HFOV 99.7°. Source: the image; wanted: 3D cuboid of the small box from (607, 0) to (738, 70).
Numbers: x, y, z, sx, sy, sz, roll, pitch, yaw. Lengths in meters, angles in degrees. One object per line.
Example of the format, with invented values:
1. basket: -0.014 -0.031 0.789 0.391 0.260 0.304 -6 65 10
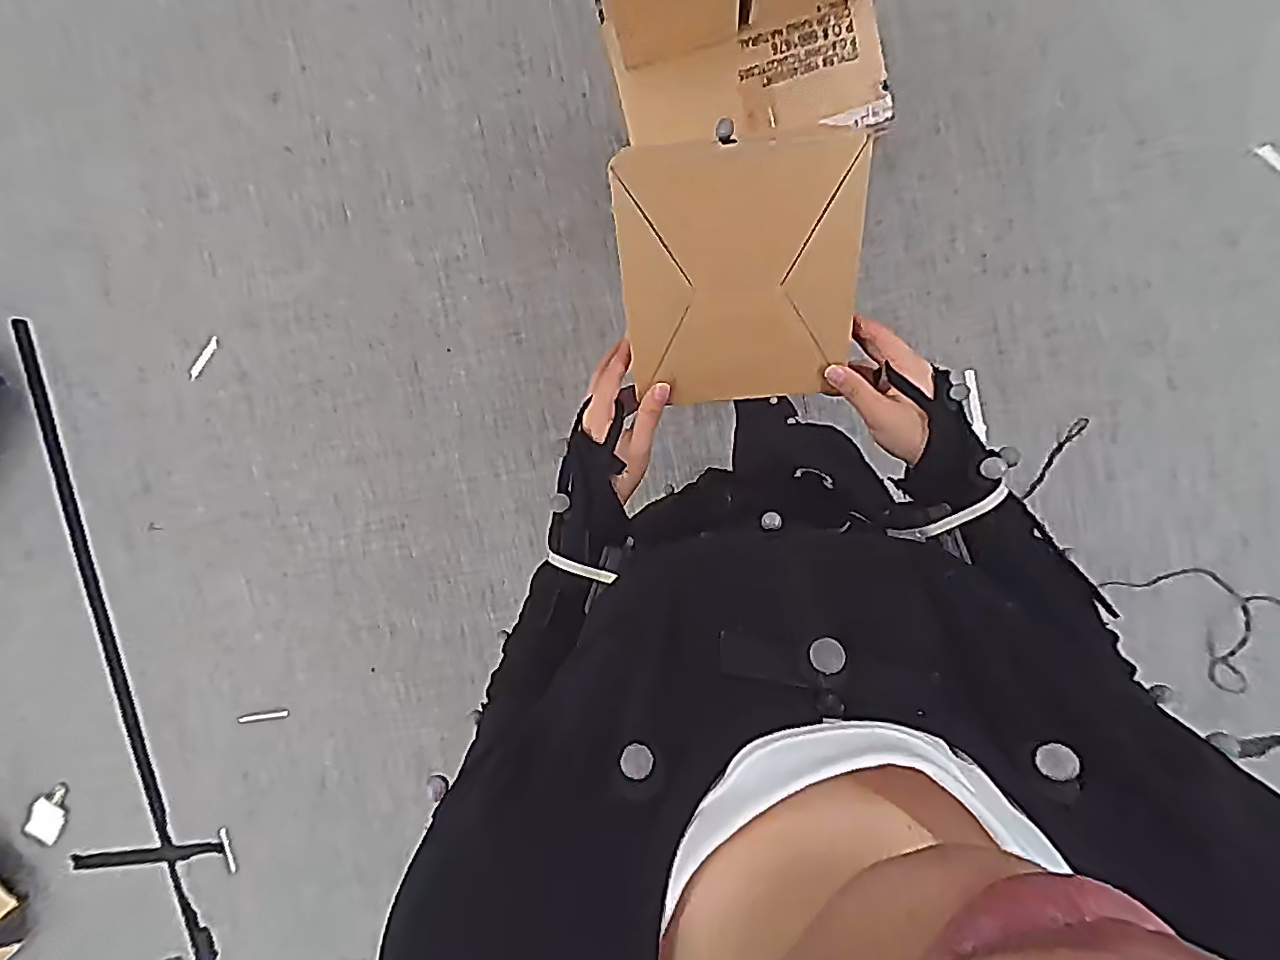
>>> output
1. small box: 0.036 -0.706 0.728 0.179 0.176 0.168 -11 95 9

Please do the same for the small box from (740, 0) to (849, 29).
1. small box: 0.220 -0.749 0.705 0.179 0.176 0.168 -12 96 6
